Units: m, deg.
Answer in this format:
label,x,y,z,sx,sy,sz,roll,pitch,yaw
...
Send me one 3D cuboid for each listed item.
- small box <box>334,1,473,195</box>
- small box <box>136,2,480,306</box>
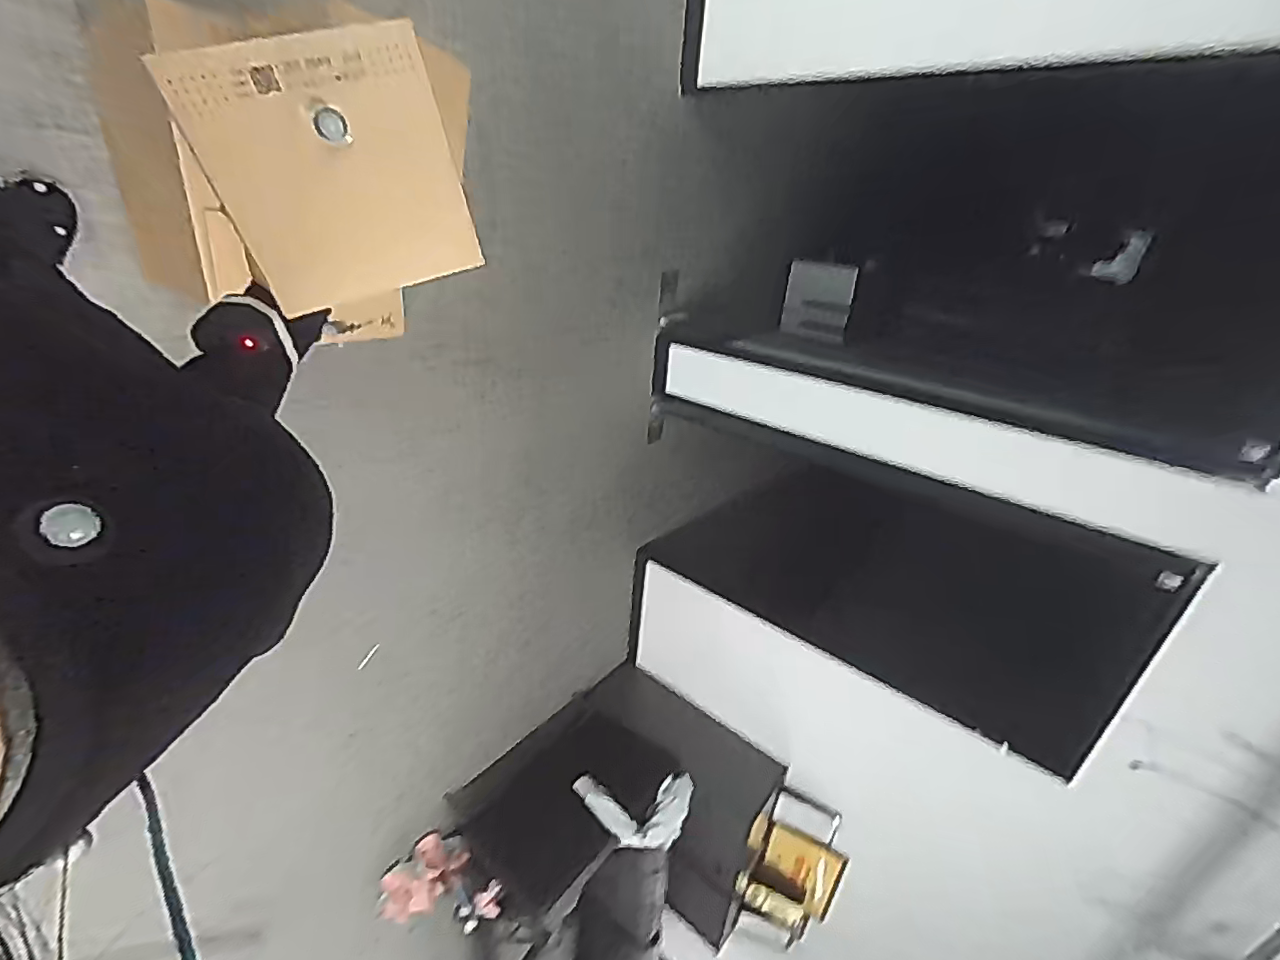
label,x,y,z,sx,sy,sz,roll,pitch,yaw
small box,-0.350,-0.481,0.712,0.179,0.176,0.168,-13,121,-51
small box,-0.256,-0.273,0.451,0.168,0.179,0.176,-24,130,-14
